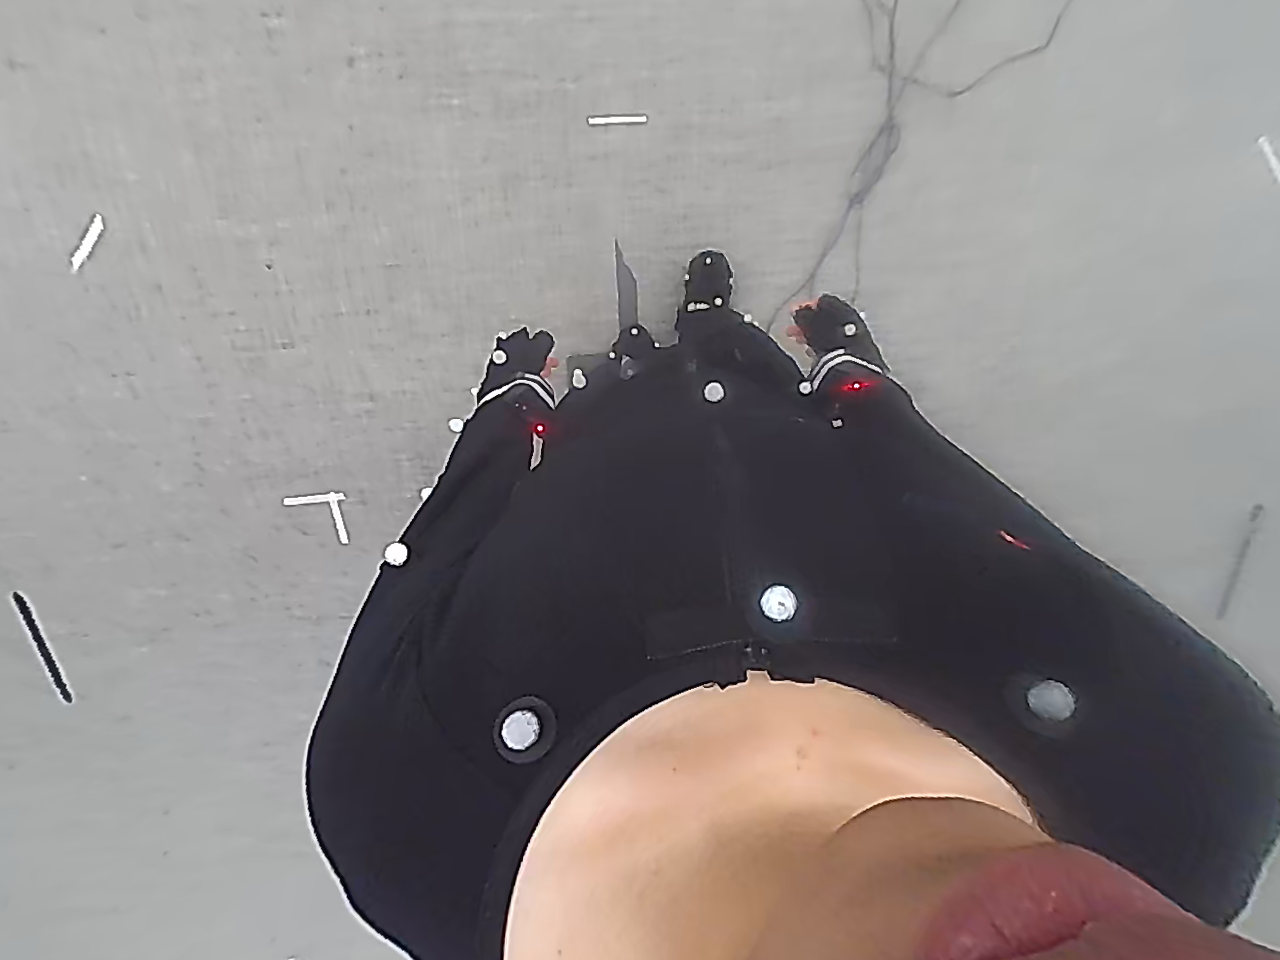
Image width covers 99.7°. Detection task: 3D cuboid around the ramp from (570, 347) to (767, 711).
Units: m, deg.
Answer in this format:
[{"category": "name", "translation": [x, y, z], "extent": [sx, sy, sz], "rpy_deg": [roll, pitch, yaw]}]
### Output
[{"category": "ramp", "translation": [0.087, 0.156, 1.497], "extent": [0.509, 0.206, 0.991], "rpy_deg": [-5, 107, 1]}]
